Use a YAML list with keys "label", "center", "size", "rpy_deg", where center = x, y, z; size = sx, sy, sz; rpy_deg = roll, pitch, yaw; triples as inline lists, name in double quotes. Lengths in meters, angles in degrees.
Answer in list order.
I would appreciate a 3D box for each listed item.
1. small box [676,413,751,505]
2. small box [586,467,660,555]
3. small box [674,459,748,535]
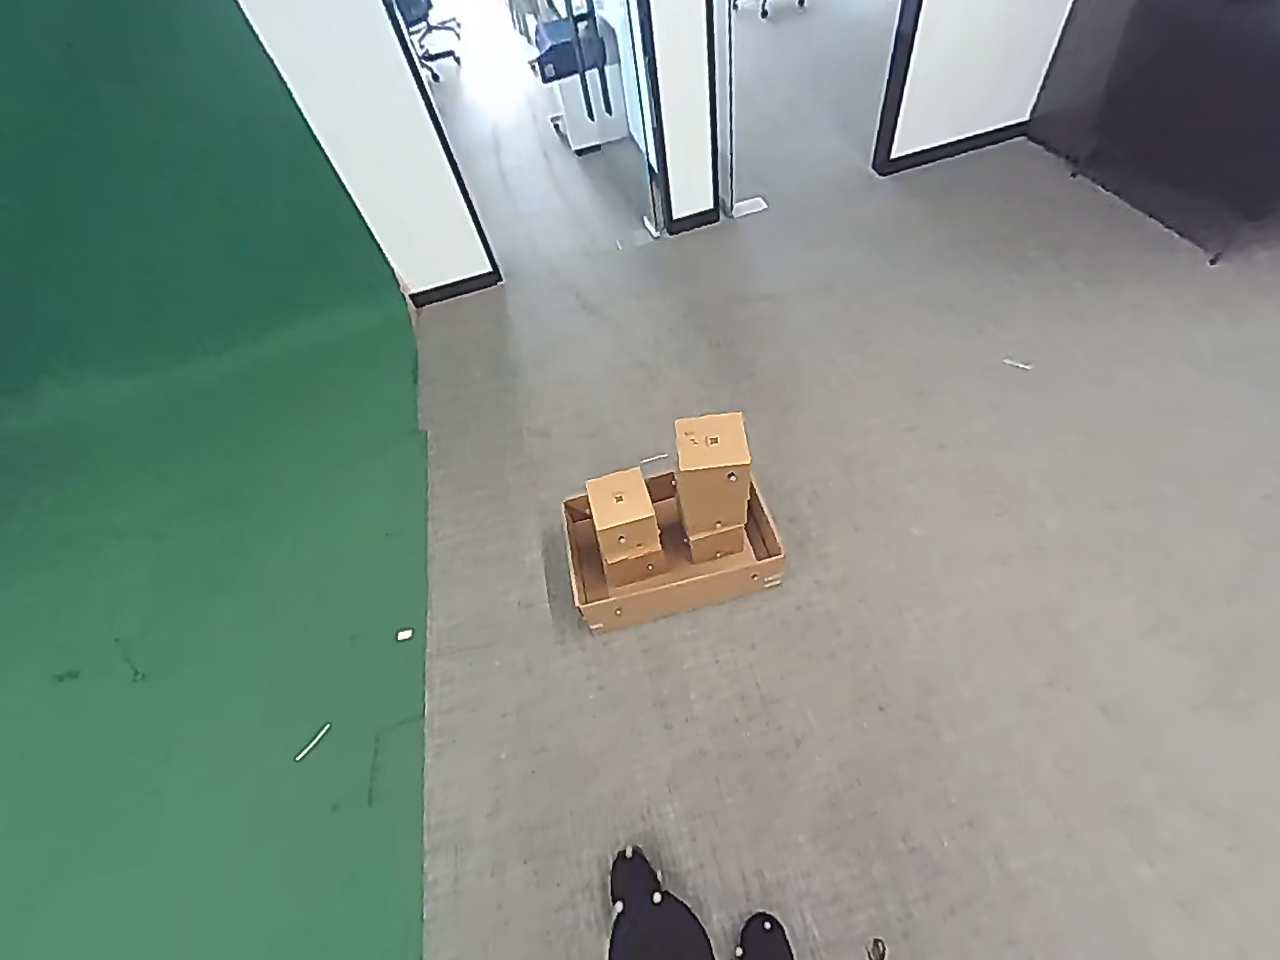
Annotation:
- label: "small box"
  center: [0.190, -0.050, 1.408]
  size: [0.179, 0.176, 0.168]
  rpy_deg: [-7, 54, 6]
- label: "small box"
  center: [-0.046, 0.097, 1.557]
  size: [0.168, 0.176, 0.179]
  rpy_deg: [-16, 53, -3]
- label: "small box"
  center: [0.202, 0.036, 1.550]
  size: [0.179, 0.176, 0.168]
  rpy_deg: [-13, 54, 1]
